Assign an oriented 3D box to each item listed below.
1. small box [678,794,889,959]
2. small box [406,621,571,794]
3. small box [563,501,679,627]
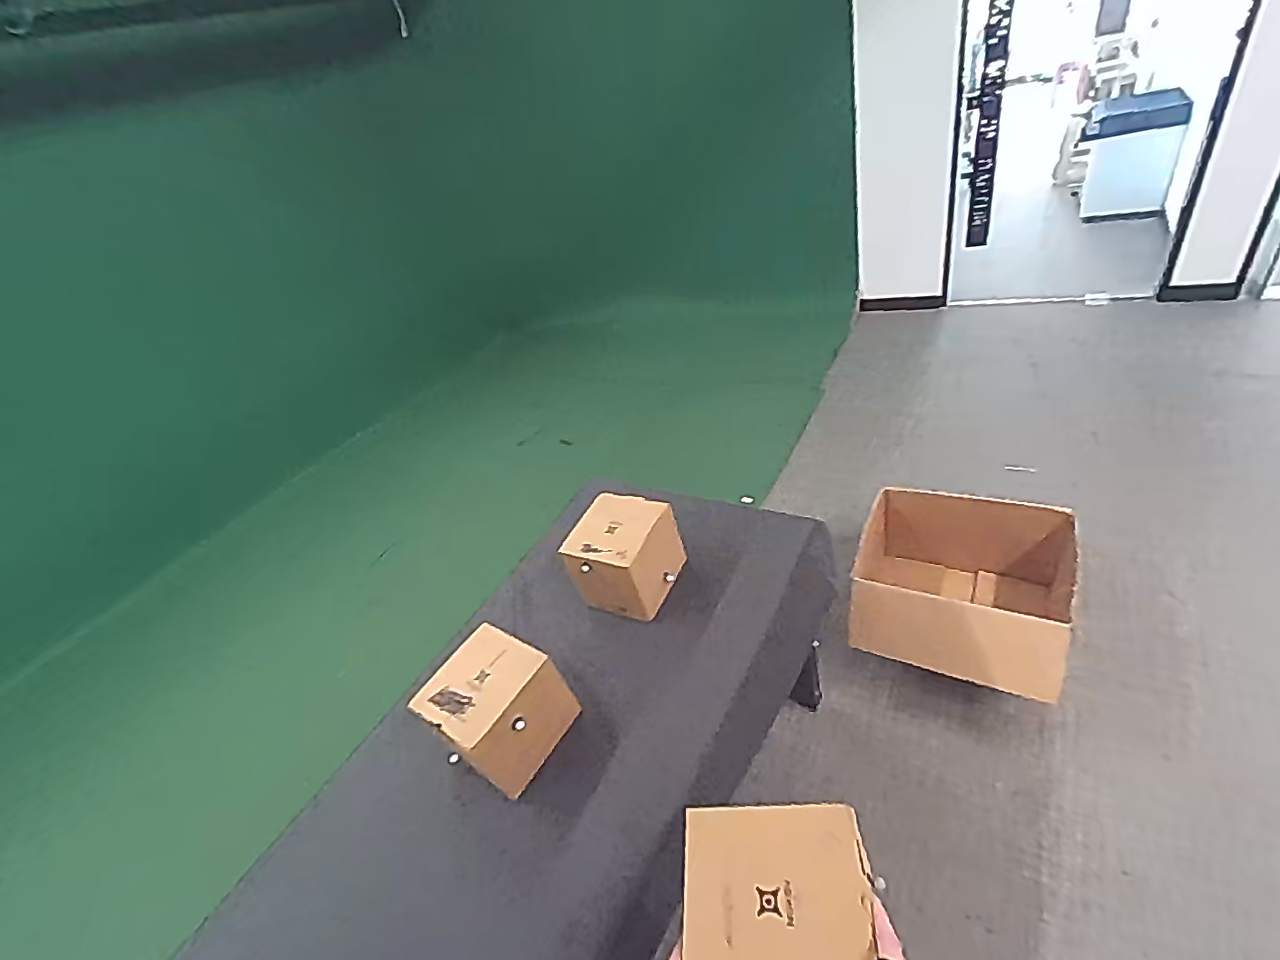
[{"bbox_3d":[0.146,0.438,0.536,0.179,0.176,0.168,-14,34,16],"label":"small box"},{"bbox_3d":[-0.242,0.377,0.901,0.168,0.176,0.179,18,49,36],"label":"small box"},{"bbox_3d":[-0.028,0.170,1.115,0.168,0.176,0.179,8,44,28],"label":"small box"}]
